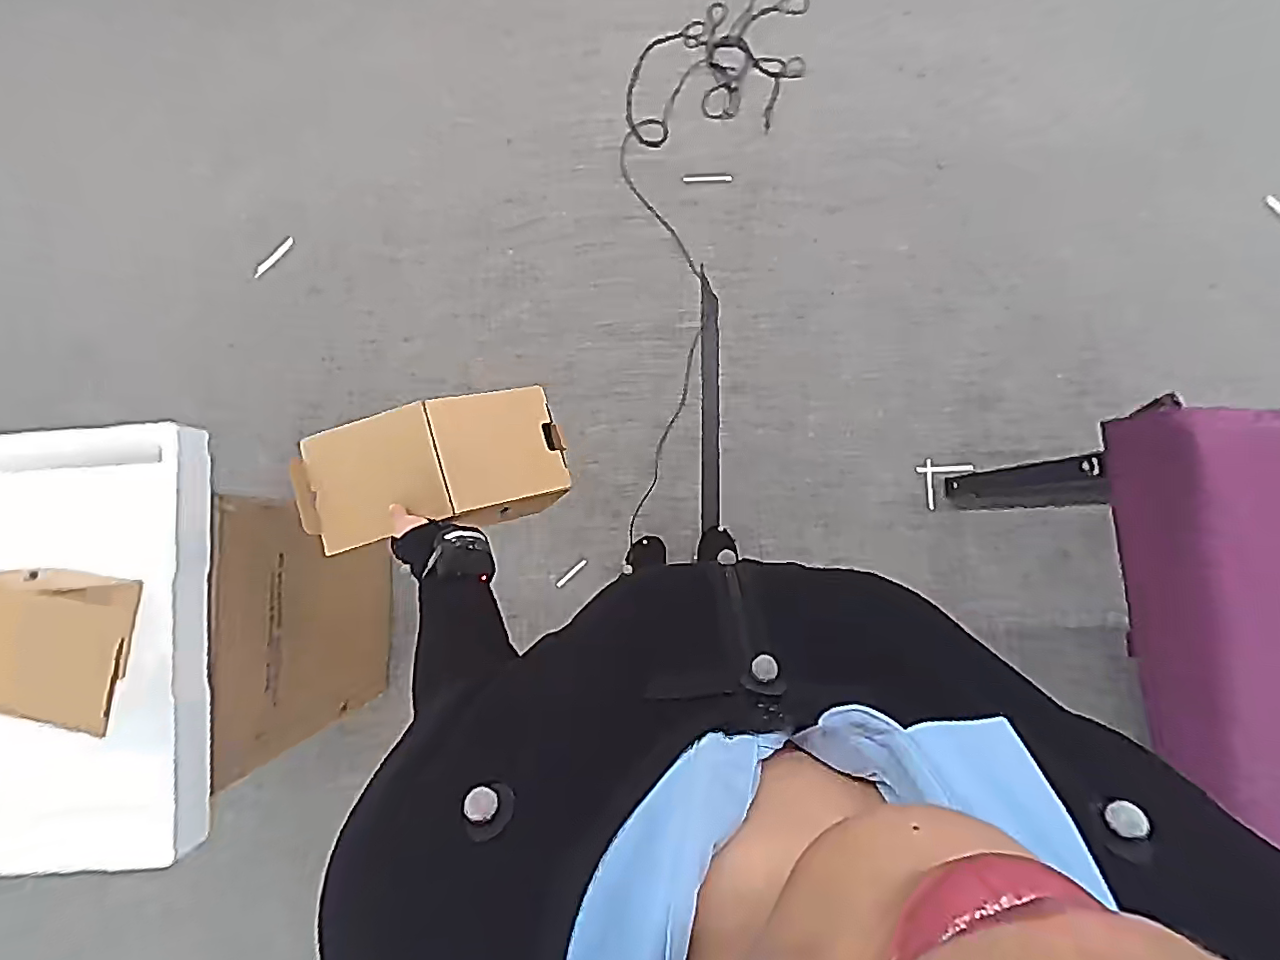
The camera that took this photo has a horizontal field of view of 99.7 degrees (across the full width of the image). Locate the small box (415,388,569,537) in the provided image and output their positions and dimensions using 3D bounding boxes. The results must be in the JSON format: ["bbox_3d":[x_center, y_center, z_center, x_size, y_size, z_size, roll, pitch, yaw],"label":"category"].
[{"bbox_3d":[-0.232,-0.022,0.816,0.179,0.176,0.168,-14,81,-30],"label":"small box"}]
